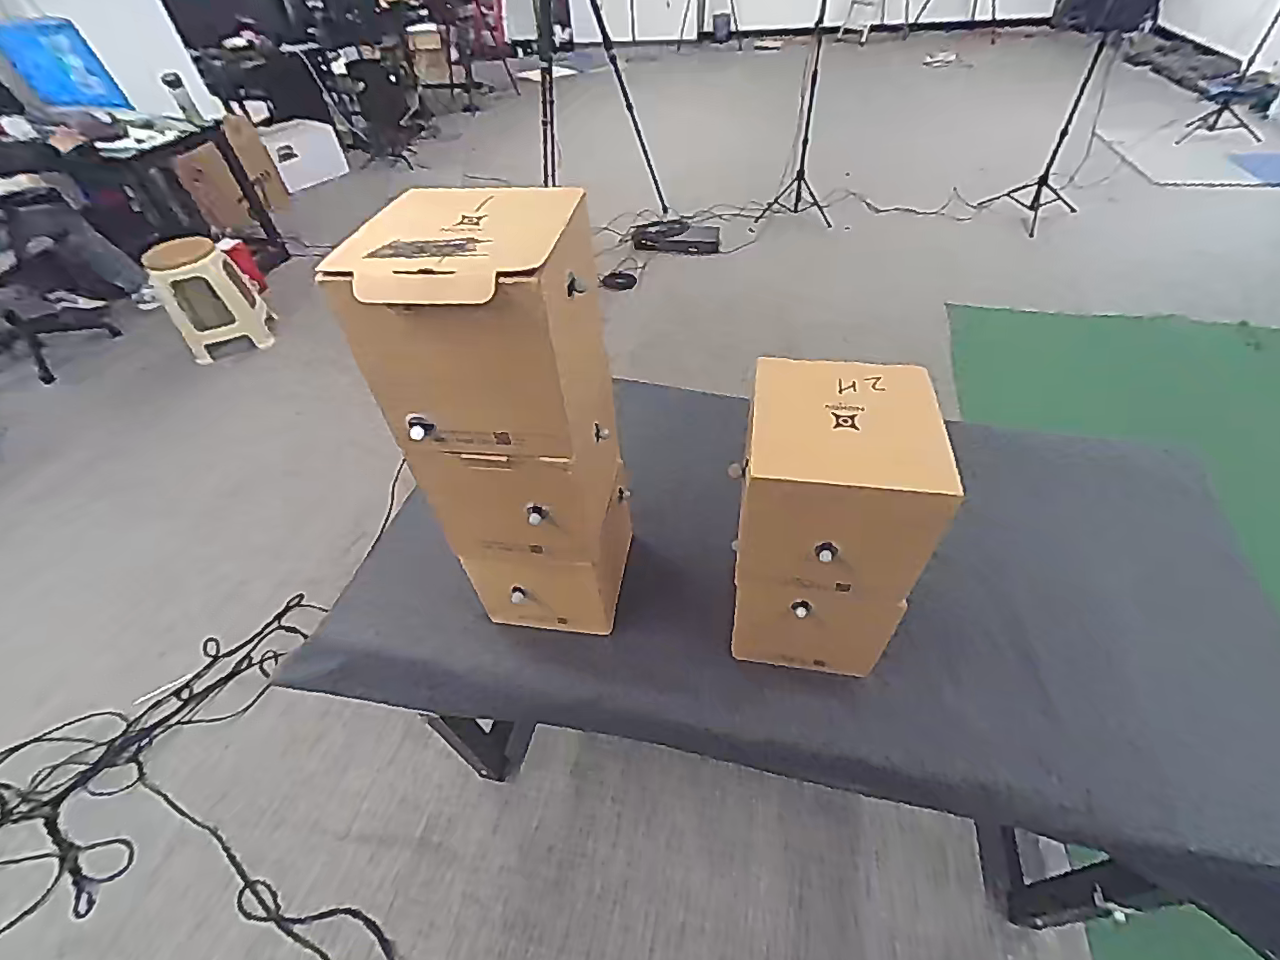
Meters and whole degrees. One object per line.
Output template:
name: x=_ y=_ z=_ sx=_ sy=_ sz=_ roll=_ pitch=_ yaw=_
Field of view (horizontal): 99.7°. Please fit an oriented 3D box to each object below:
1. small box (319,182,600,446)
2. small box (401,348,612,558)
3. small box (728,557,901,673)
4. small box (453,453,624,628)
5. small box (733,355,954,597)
small box: x=-0.132 y=-0.147 z=0.483 sx=0.168 sy=0.176 sz=0.179 roll=4 pitch=46 yaw=5
small box: x=-0.127 y=-0.033 z=0.601 sx=0.168 sy=0.176 sz=0.179 roll=5 pitch=46 yaw=6
small box: x=0.201 y=0.110 z=0.668 sx=0.168 sy=0.176 sz=0.179 roll=6 pitch=47 yaw=9
small box: x=-0.118 y=0.077 z=0.720 sx=0.168 sy=0.176 sz=0.179 roll=5 pitch=47 yaw=8
small box: x=0.187 y=-0.003 z=0.547 sx=0.168 sy=0.176 sz=0.179 roll=6 pitch=48 yaw=9
